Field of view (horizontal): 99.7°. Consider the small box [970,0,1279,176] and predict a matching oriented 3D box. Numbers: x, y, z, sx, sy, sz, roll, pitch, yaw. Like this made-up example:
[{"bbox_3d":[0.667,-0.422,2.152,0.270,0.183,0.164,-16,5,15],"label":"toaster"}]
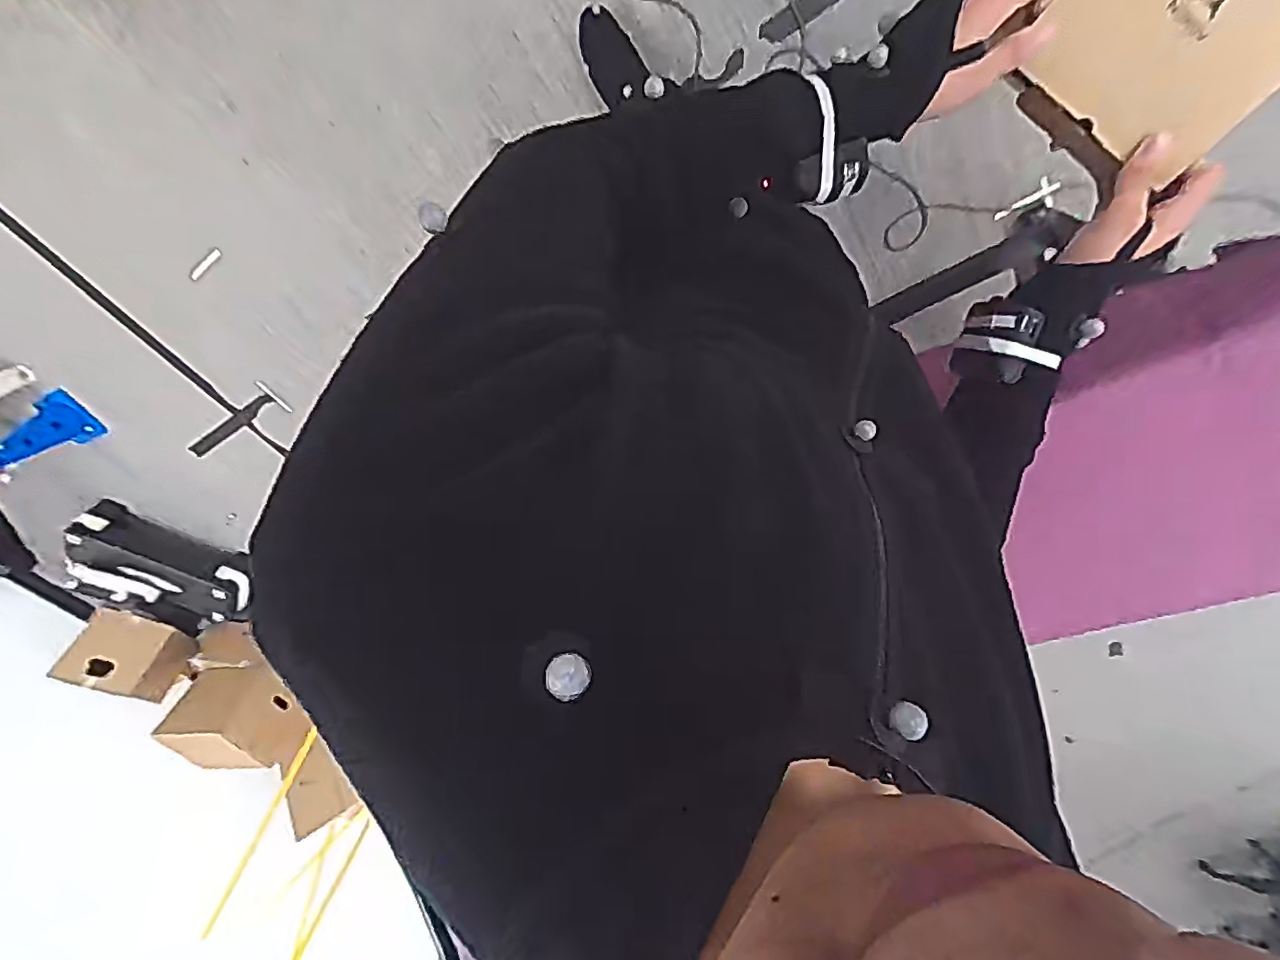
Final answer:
[{"bbox_3d":[0.385,-0.380,0.411,0.168,0.176,0.179,31,134,-11],"label":"small box"}]
